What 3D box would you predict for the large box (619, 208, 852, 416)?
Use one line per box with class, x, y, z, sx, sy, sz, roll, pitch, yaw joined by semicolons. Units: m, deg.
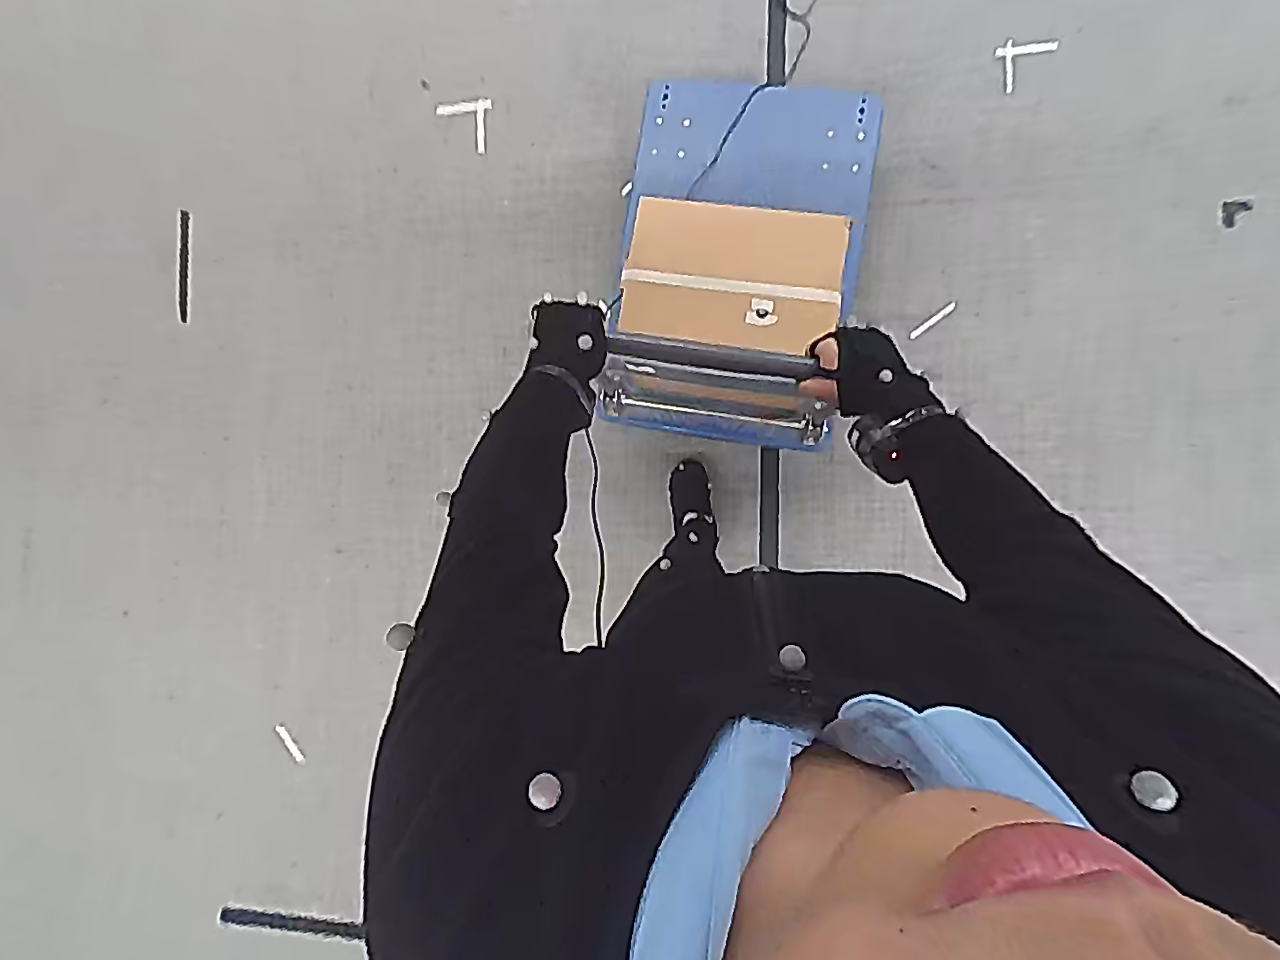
large box;0.189;-0.338;1.162;0.408;0.320;0.320;9;89;7
